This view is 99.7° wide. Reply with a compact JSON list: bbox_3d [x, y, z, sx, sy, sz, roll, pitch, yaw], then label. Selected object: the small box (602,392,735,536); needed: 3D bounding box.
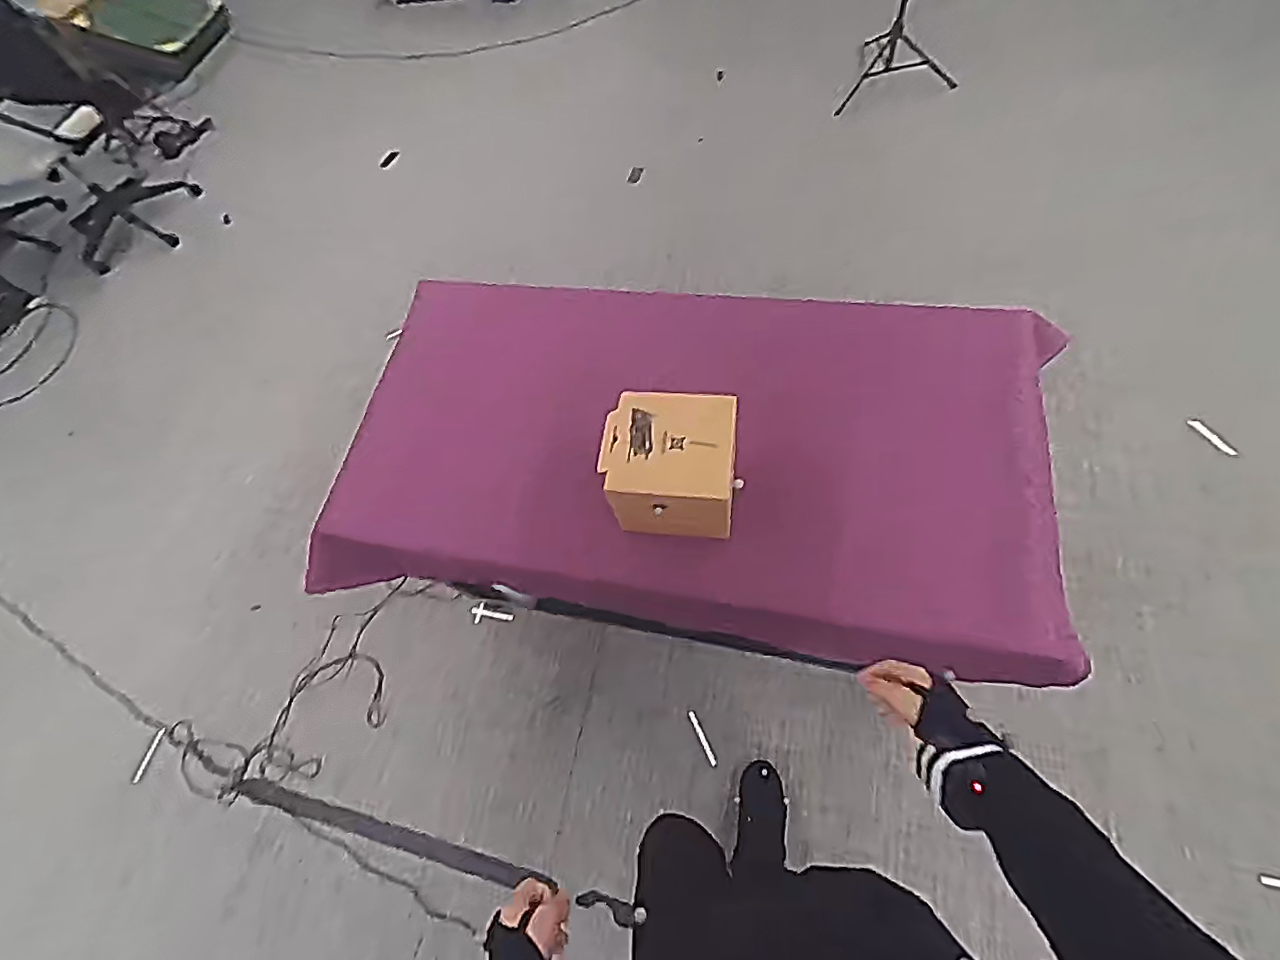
[{"bbox_3d":[0.054,-0.020,0.836,0.179,0.176,0.168,4,66,10],"label":"small box"}]
